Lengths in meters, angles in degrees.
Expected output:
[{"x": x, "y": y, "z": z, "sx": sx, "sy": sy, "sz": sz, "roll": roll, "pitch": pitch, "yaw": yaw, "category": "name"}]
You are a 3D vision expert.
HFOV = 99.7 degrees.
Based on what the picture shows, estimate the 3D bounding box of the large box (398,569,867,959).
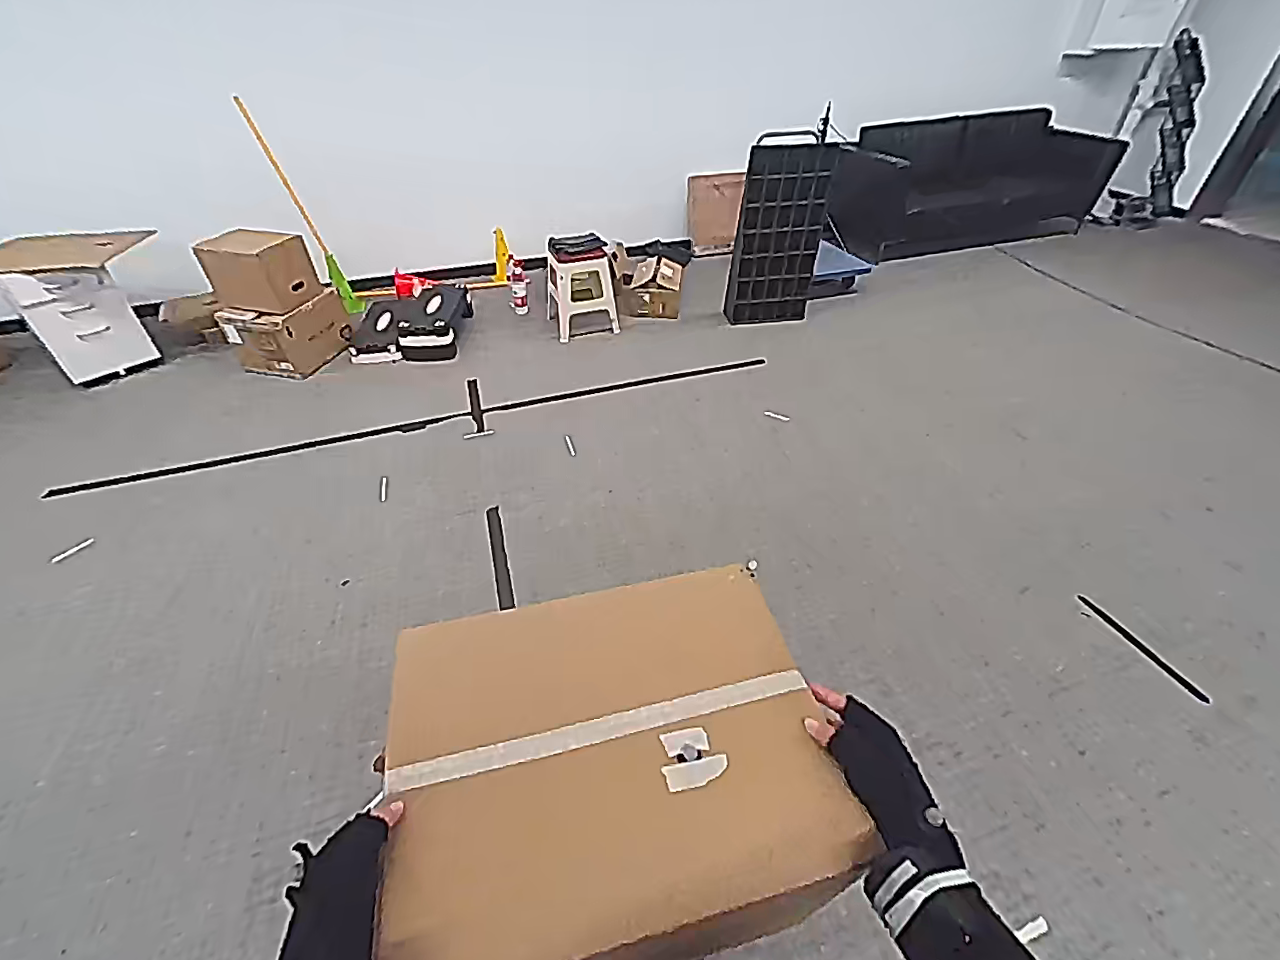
[{"x": -0.030, "y": 0.354, "z": 0.638, "sx": 0.408, "sy": 0.320, "sz": 0.320, "roll": -9, "pitch": 45, "yaw": -11, "category": "large box"}]
